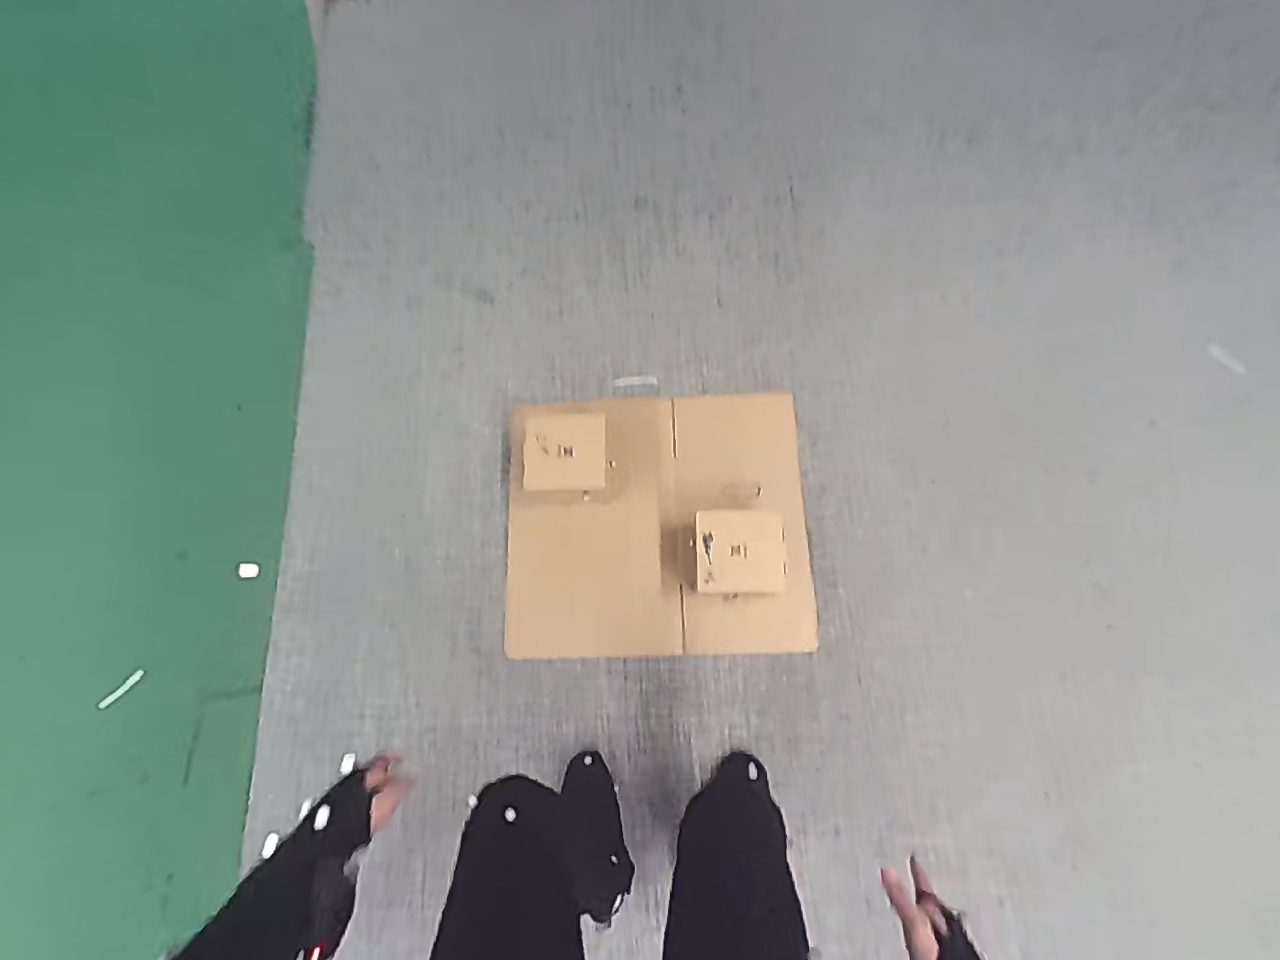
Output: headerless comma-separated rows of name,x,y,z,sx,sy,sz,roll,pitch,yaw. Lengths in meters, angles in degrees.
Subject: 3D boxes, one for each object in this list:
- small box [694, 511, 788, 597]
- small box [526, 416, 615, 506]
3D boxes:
small box,0.207,0.161,1.153,0.179,0.176,0.168,0,76,4
small box,-0.149,-0.039,1.219,0.179,0.176,0.168,-1,76,3
